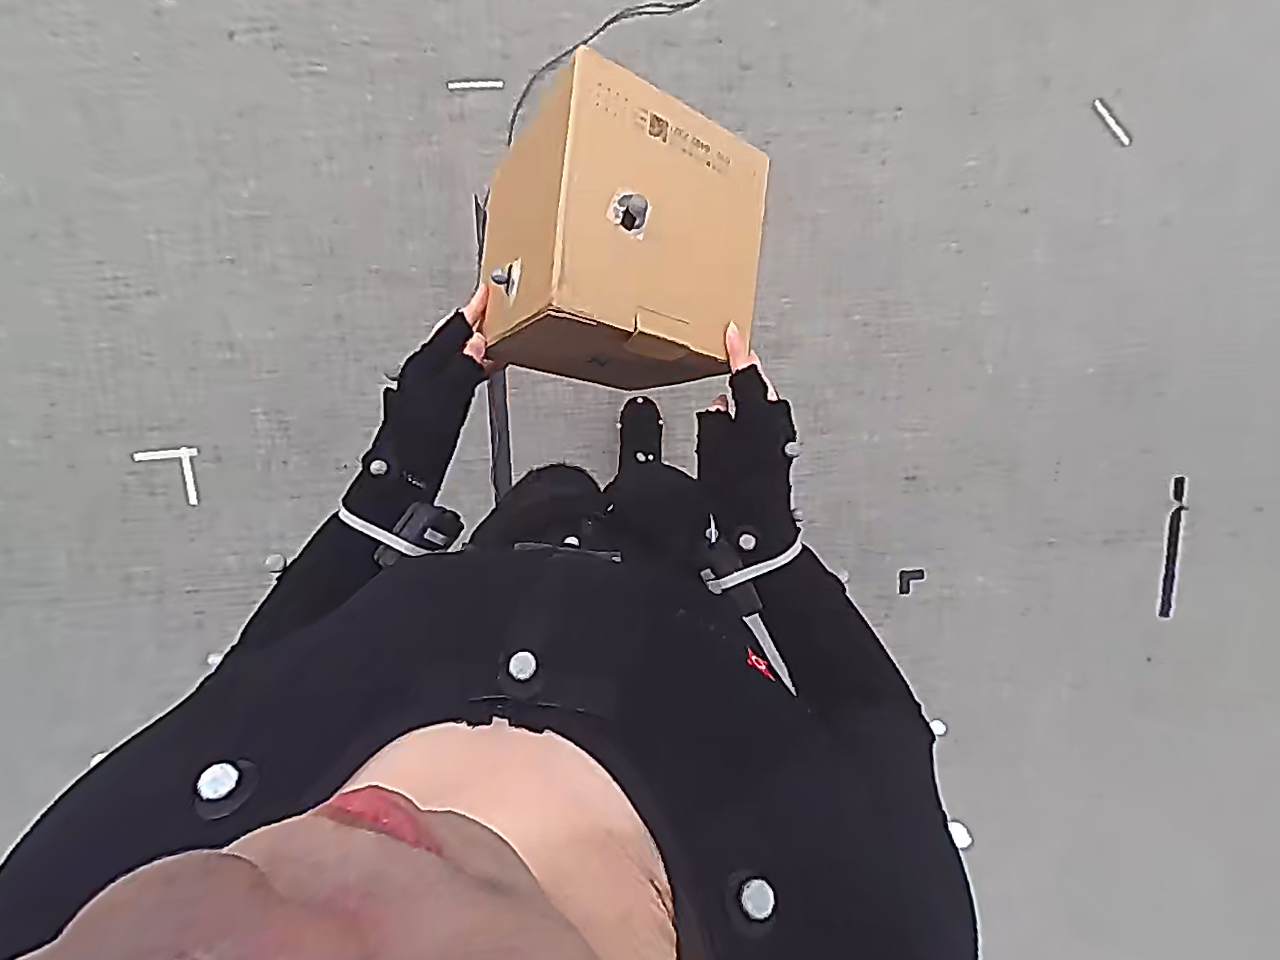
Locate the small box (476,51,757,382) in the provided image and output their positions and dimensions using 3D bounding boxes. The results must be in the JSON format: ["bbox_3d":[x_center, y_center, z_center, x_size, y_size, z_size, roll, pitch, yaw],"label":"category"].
[{"bbox_3d":[-0.021,-0.186,0.440,0.168,0.179,0.176,7,88,-34],"label":"small box"}]
